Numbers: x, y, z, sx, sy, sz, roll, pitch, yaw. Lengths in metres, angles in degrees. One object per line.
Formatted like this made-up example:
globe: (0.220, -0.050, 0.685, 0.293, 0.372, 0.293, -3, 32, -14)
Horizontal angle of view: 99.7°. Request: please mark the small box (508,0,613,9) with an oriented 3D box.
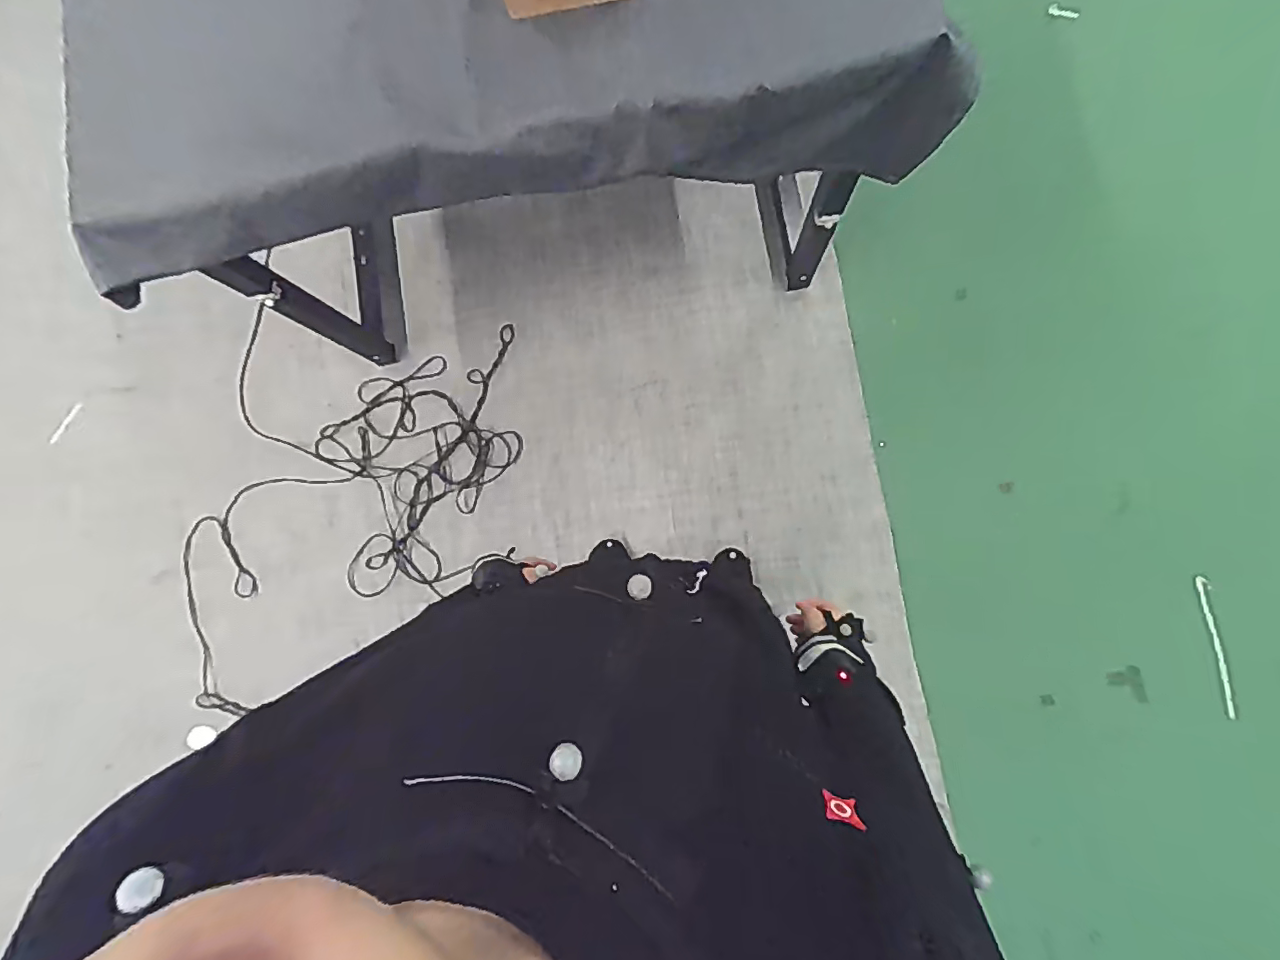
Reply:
small box: (-0.110, -0.720, 0.653, 0.168, 0.176, 0.179, -6, 83, 4)
